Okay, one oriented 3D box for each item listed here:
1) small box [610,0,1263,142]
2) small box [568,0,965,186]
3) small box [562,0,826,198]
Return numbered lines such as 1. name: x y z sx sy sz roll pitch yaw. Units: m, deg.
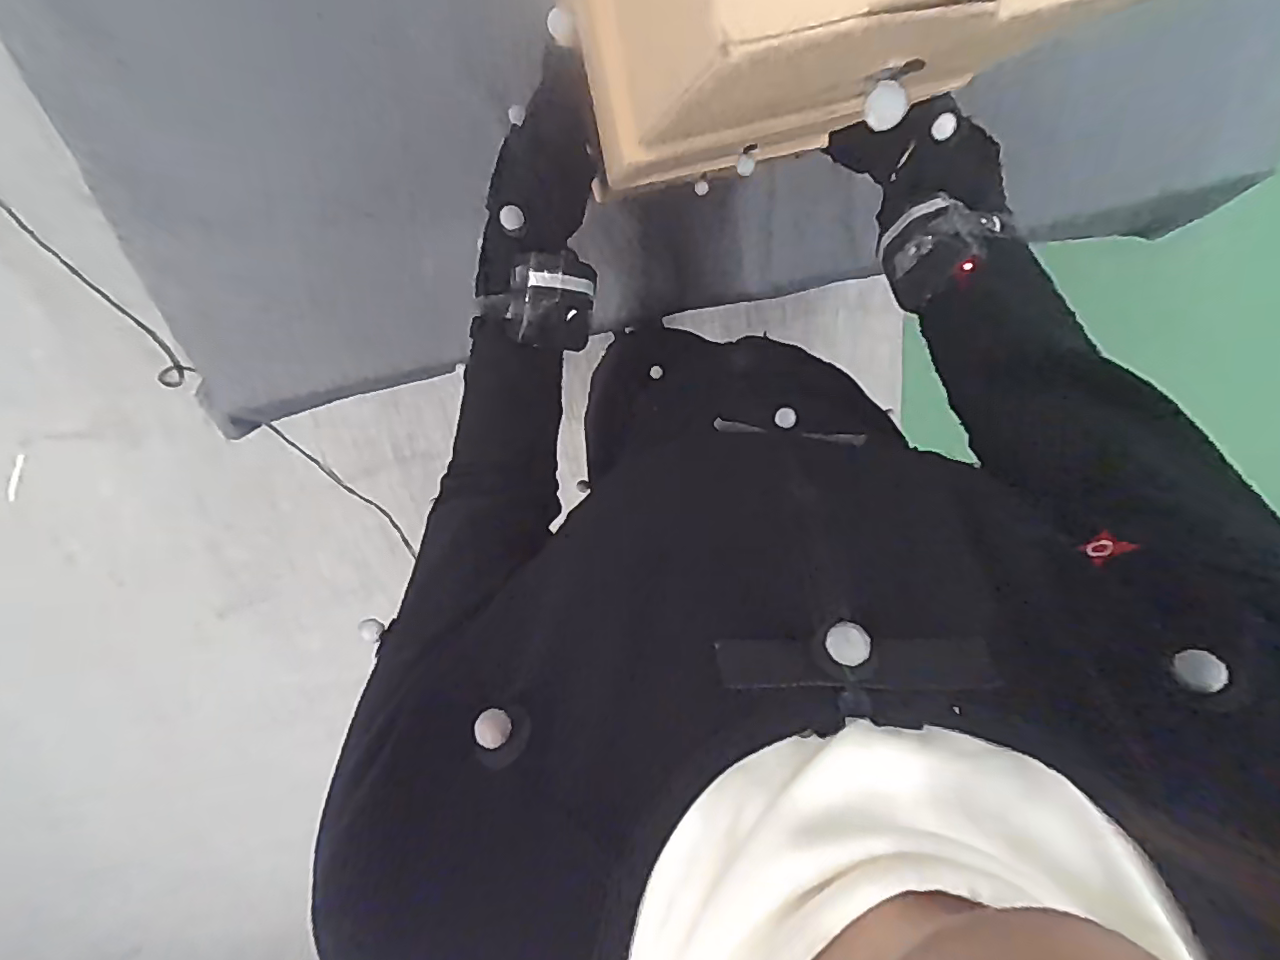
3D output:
1. small box: 0.070 -0.212 0.152 0.168 0.176 0.179 -14 118 0
2. small box: 0.052 -0.274 0.302 0.179 0.176 0.168 -13 117 1
3. small box: 0.035 -0.343 0.450 0.179 0.176 0.168 -14 117 -2
